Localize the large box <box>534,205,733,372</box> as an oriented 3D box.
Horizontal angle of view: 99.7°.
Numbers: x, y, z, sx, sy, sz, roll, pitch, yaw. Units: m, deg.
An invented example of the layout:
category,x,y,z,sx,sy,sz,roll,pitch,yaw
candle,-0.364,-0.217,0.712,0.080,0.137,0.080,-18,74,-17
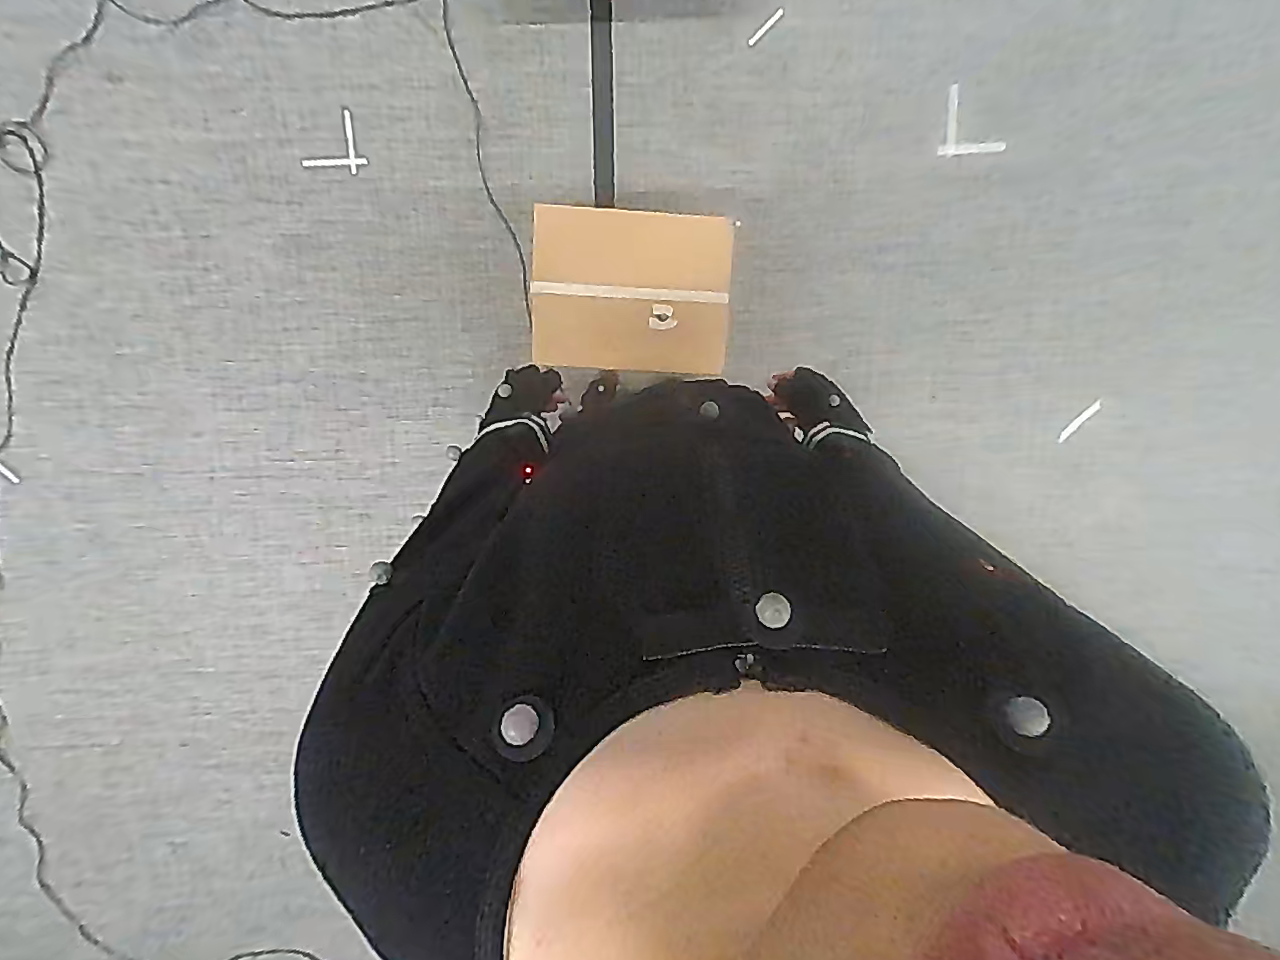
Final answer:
category,x,y,z,sx,sy,sz,roll,pitch,yaw
large box,-0.026,-0.415,1.252,0.408,0.320,0.320,2,102,-4
